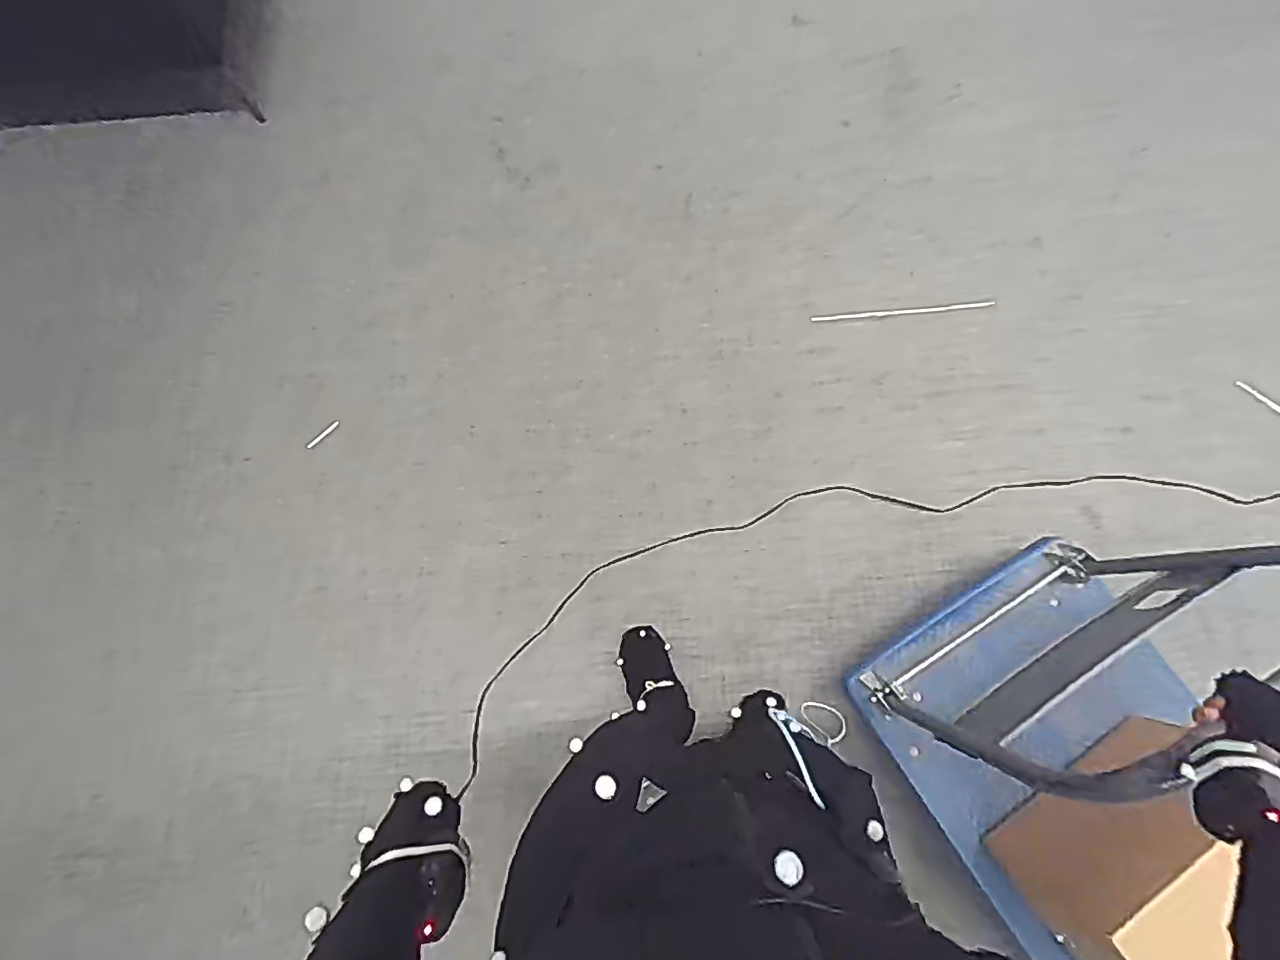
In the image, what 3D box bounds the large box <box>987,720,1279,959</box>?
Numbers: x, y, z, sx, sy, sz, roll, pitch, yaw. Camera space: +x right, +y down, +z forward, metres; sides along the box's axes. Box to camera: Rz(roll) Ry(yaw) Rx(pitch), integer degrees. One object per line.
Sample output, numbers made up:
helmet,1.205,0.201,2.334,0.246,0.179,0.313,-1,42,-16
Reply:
large box,0.901,0.675,0.887,0.408,0.320,0.320,-36,80,-6
